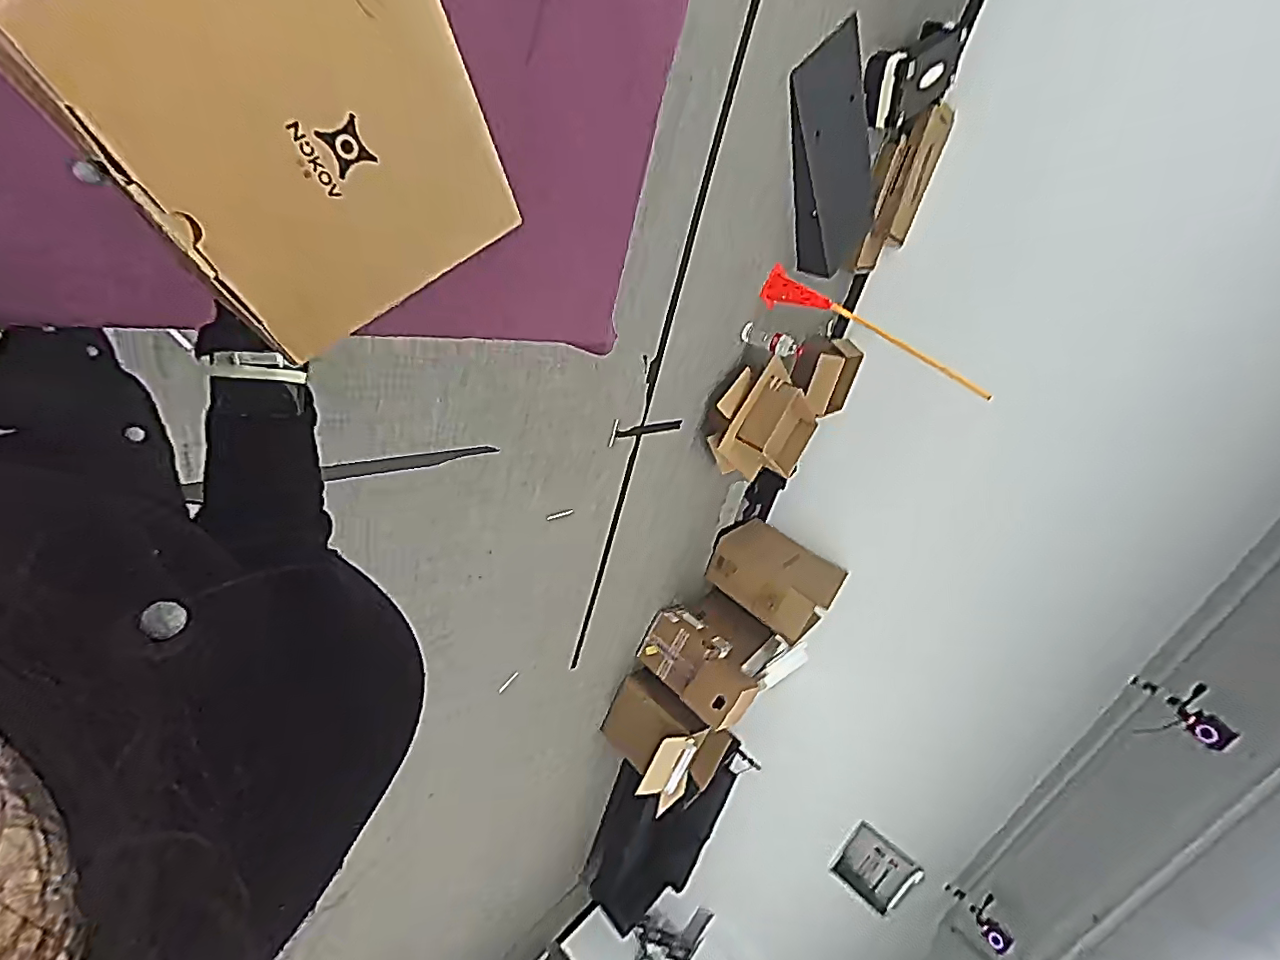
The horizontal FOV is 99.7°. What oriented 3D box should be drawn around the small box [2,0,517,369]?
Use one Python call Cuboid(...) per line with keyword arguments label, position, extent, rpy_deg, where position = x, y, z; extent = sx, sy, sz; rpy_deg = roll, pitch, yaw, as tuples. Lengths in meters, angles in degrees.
Cuboid(label="small box", position=(-0.215, -0.206, 0.330), extent=(0.179, 0.176, 0.168), rpy_deg=(-44, 146, -20))
